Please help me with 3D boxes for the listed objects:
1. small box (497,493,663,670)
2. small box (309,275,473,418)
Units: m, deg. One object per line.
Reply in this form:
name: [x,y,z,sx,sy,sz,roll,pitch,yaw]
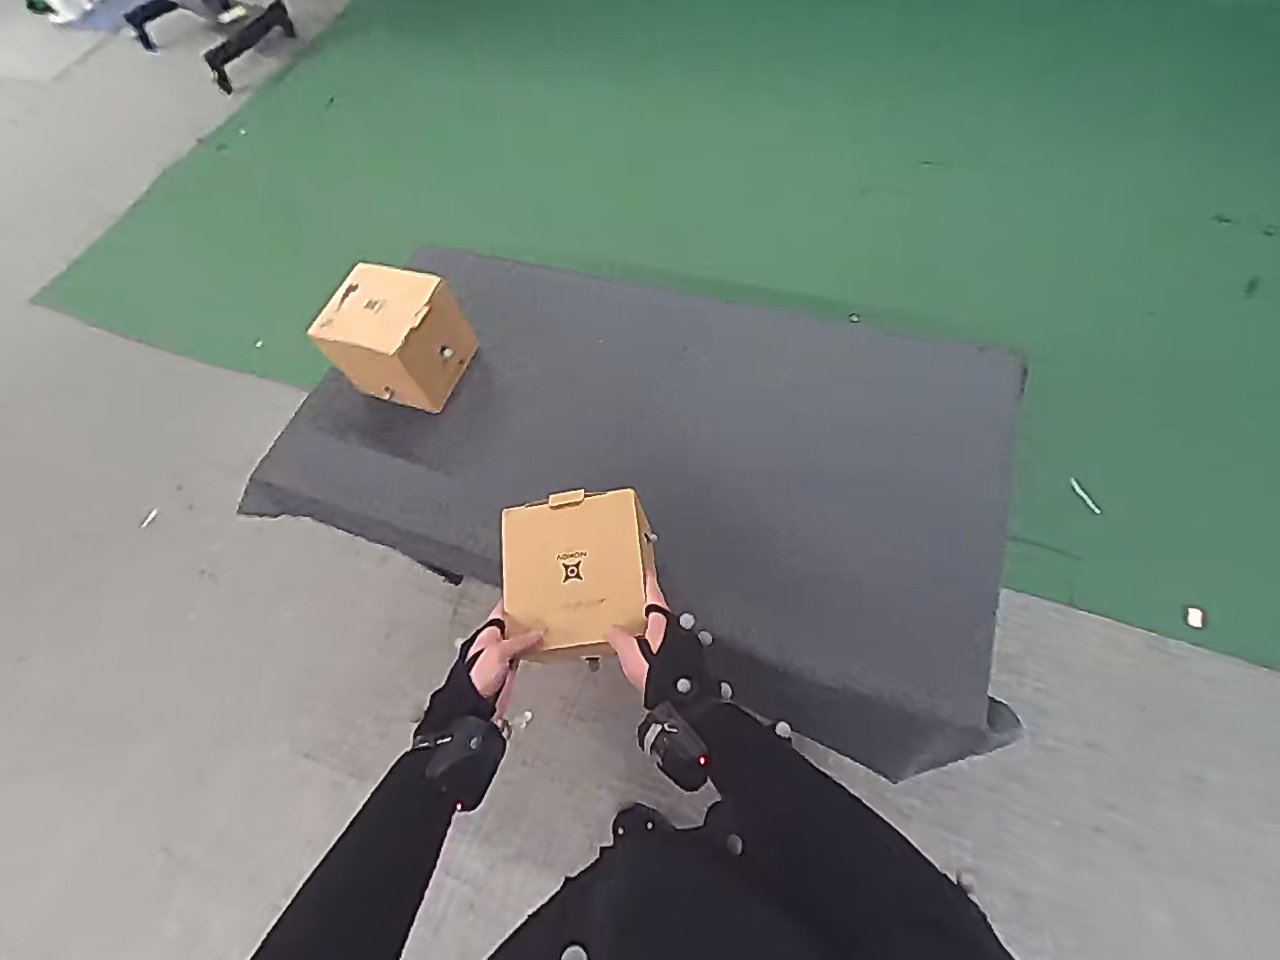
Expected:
small box: [-0.067,0.134,0.677,0.168,0.176,0.179,-8,66,7]
small box: [-0.429,-0.231,0.968,0.179,0.176,0.168,16,66,13]
